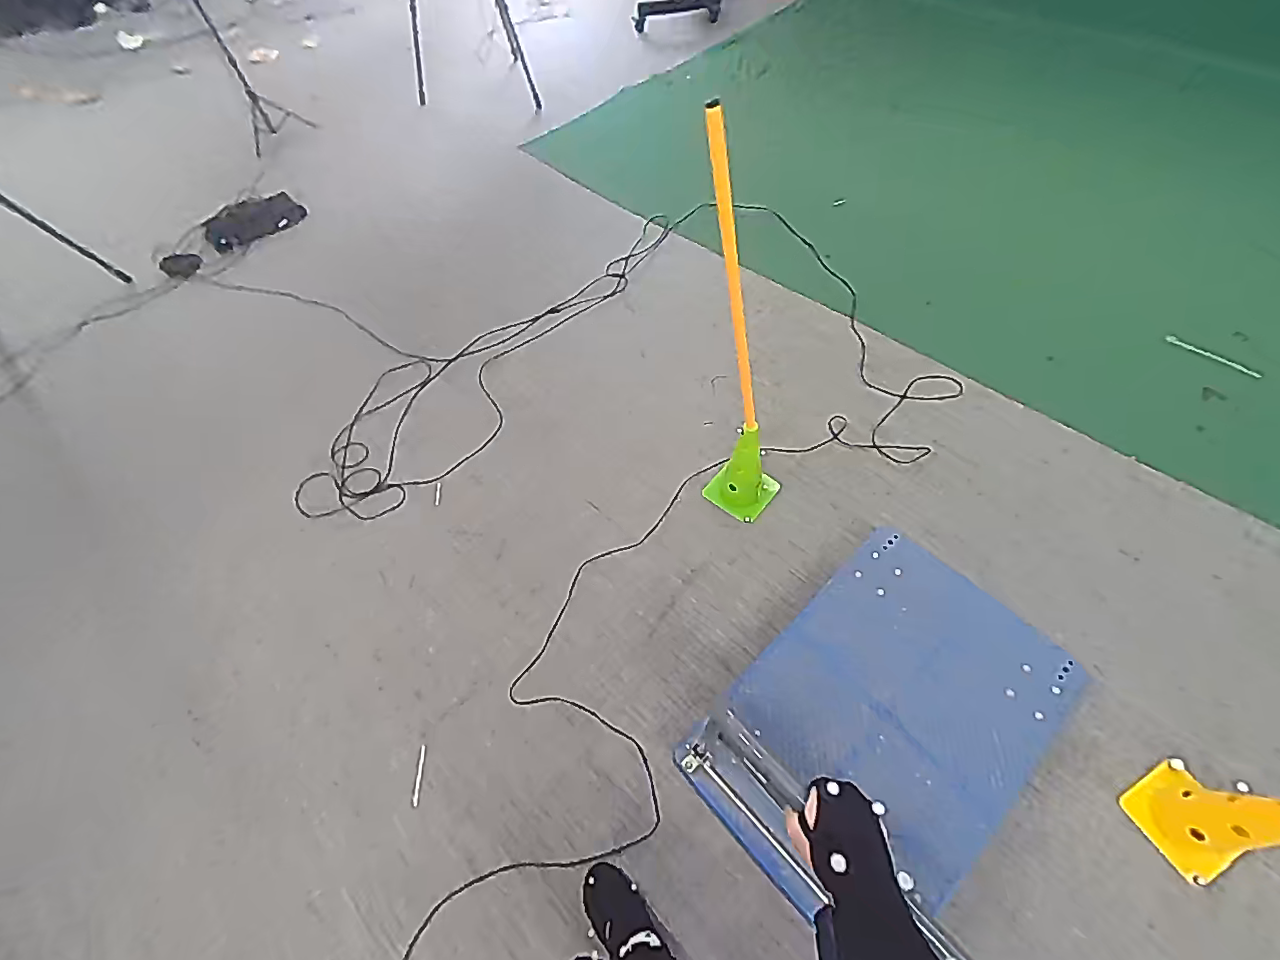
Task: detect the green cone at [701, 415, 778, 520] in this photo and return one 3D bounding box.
[{"bbox_3d":[0.319,-0.072,1.677,0.202,0.368,0.200,33,66,25],"label":"green cone"}]
